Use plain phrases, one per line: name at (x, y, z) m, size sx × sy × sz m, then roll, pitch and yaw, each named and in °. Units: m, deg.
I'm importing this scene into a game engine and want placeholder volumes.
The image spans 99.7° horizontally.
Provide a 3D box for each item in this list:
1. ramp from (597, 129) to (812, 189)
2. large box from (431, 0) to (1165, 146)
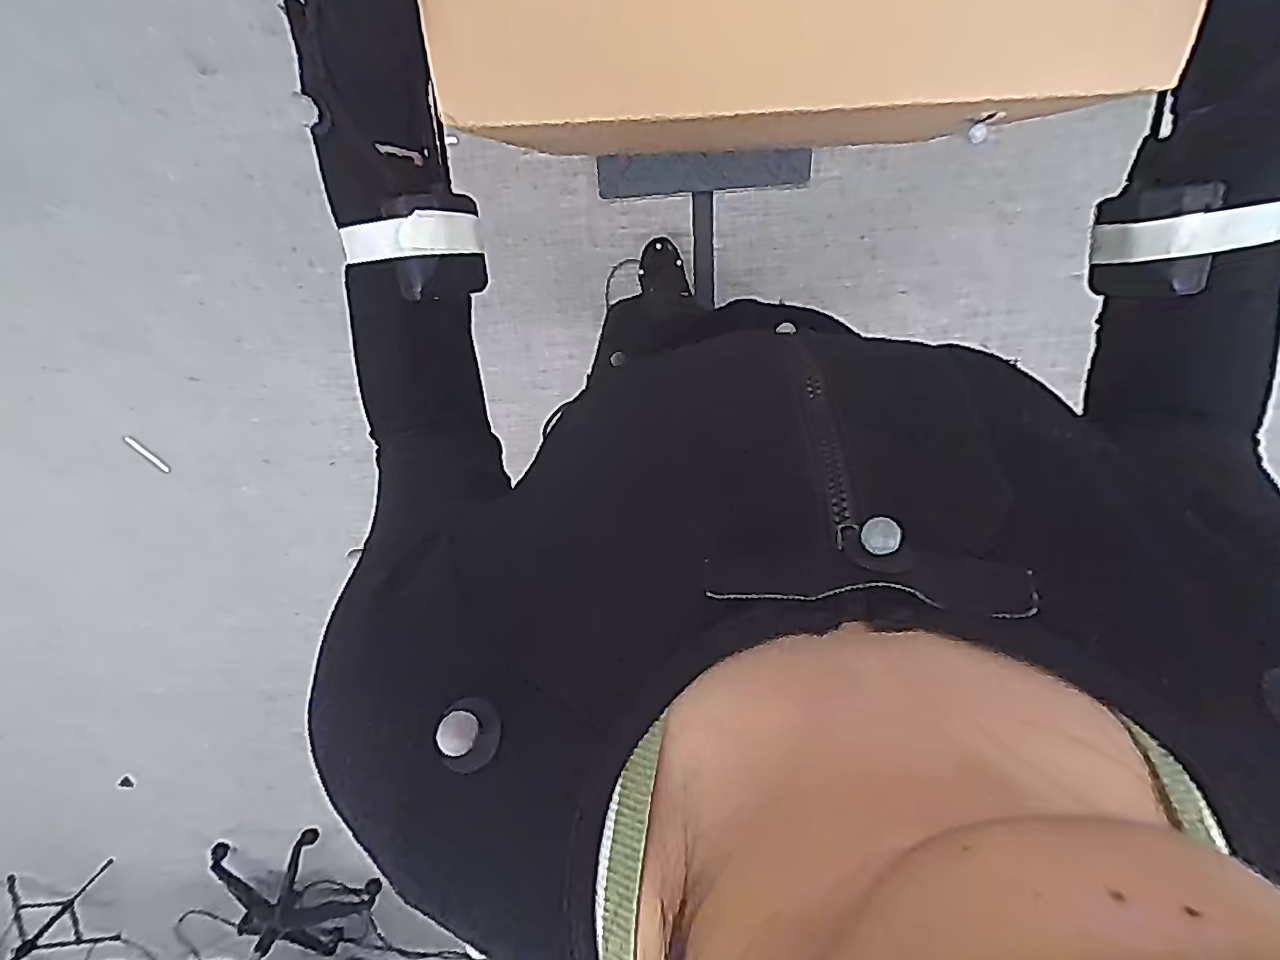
ramp at (0.115, -1.132, 1.019) m, size 0.509 × 0.206 × 0.991 m, roll -5°, pitch 111°, yaw 3°
large box at (0.085, -0.426, 0.372) m, size 0.408 × 0.320 × 0.320 m, roll 0°, pitch 118°, yaw 4°
